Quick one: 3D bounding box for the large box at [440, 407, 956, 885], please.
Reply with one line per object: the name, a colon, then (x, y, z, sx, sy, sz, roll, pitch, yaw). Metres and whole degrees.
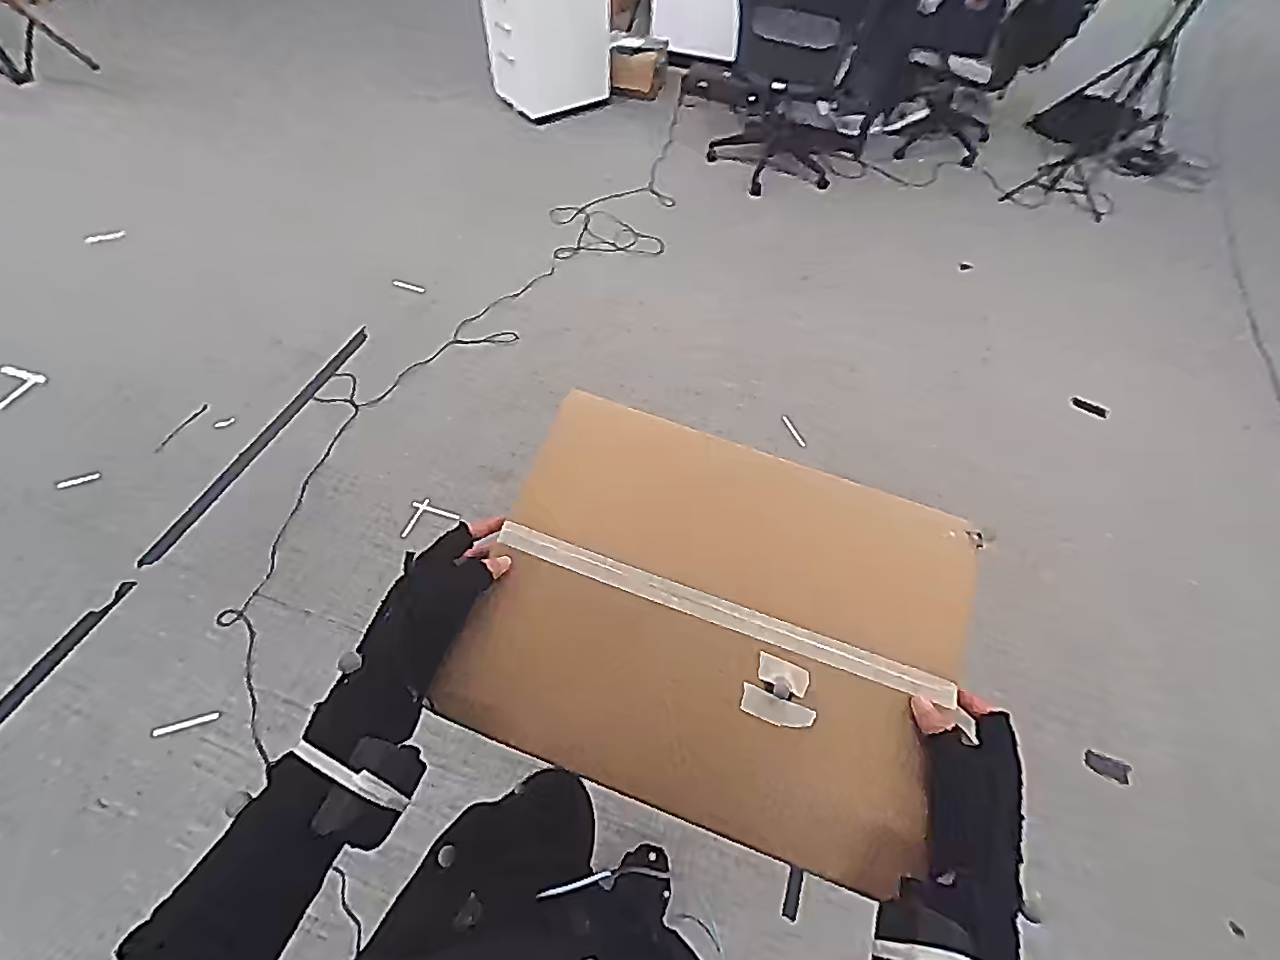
large box: (0.062, 0.169, 0.622, 0.408, 0.320, 0.320, 19, 71, 6)
